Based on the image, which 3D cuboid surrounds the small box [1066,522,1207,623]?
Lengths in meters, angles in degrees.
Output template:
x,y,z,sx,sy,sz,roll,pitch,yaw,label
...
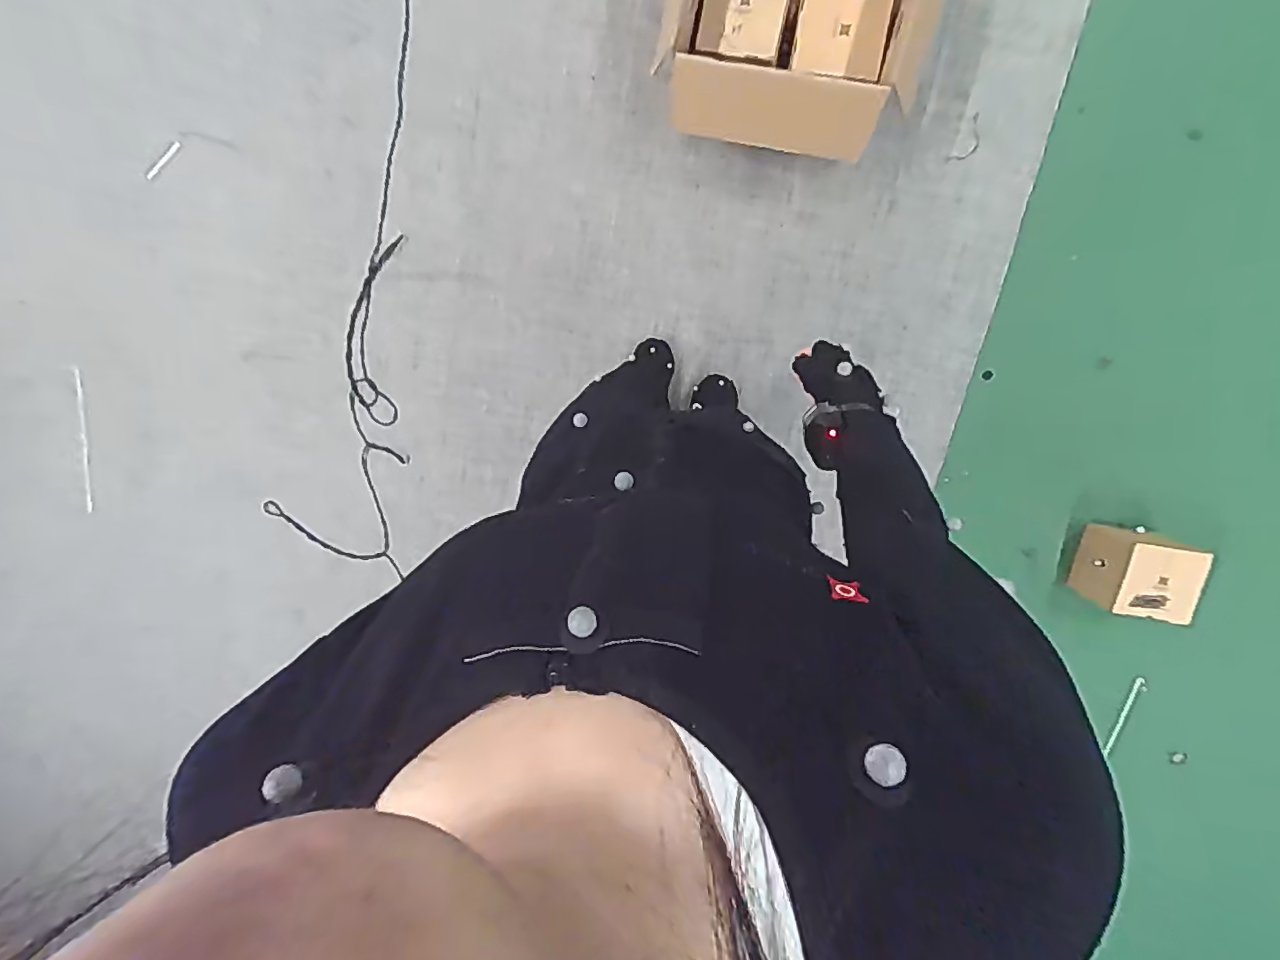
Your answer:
x,y,z,sx,sy,sz,roll,pitch,yaw,label
1.182,0.217,1.305,0.168,0.176,0.179,9,102,5,small box
